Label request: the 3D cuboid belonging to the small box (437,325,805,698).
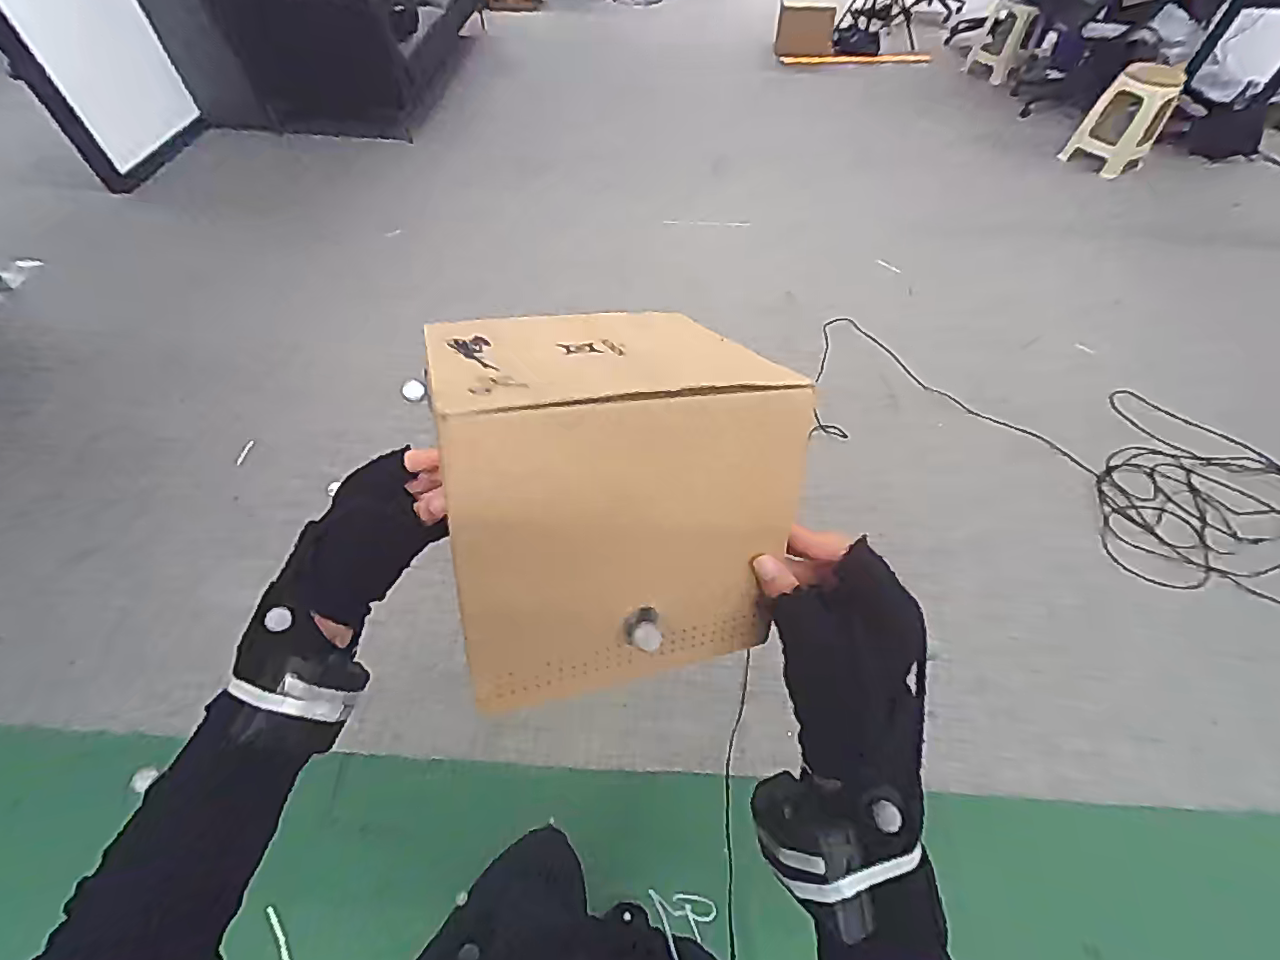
[{"bbox_3d":[-0.028,0.005,0.344,0.179,0.176,0.168,-7,28,-19],"label":"small box"}]
